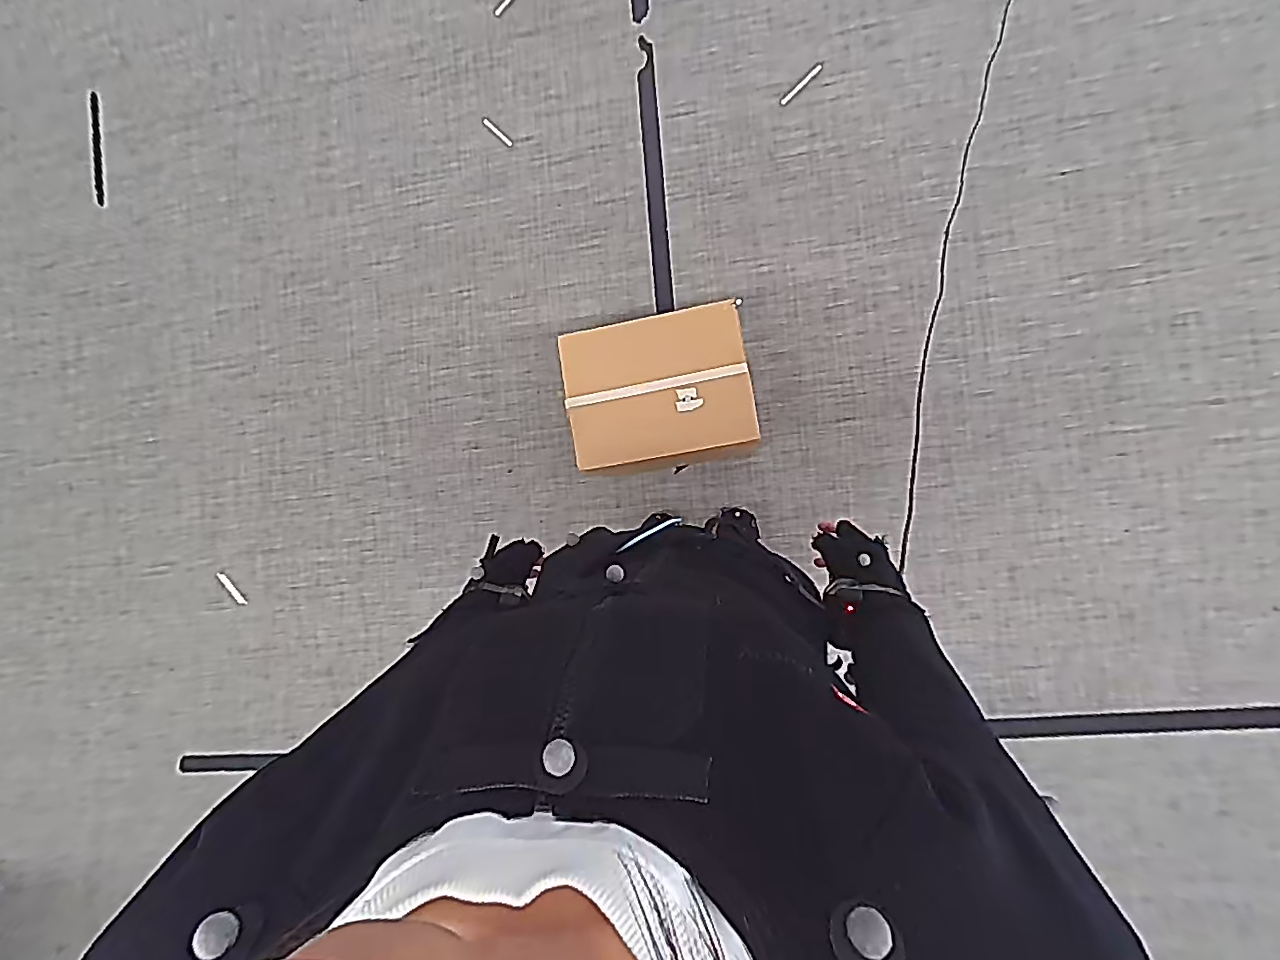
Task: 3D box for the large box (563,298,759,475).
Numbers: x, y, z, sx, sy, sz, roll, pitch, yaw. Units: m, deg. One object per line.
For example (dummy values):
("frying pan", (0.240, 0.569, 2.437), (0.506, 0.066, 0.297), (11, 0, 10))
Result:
("large box", (0.060, -0.206, 1.346), (0.408, 0.320, 0.320), (-10, 86, 8))
